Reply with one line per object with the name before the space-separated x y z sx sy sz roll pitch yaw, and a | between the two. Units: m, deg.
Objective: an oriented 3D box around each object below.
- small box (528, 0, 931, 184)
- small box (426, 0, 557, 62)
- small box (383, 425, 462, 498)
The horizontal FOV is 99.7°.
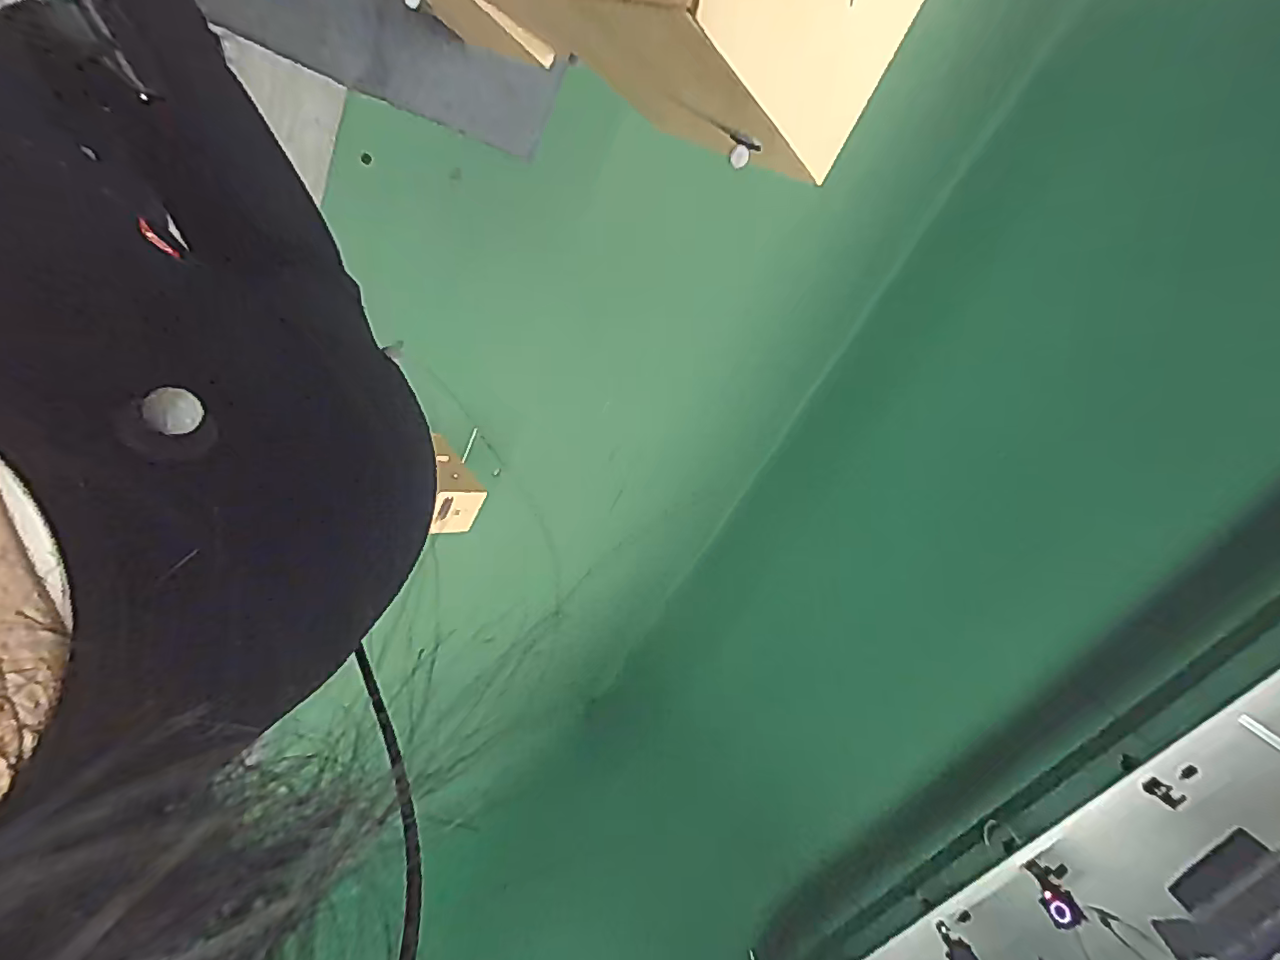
small box | 0.057 -0.312 0.312 0.179 0.176 0.168 2 123 -52
small box | -0.143 -0.521 0.466 0.168 0.176 0.179 6 121 -54
small box | -0.734 -0.059 1.810 0.168 0.176 0.179 3 125 -53
